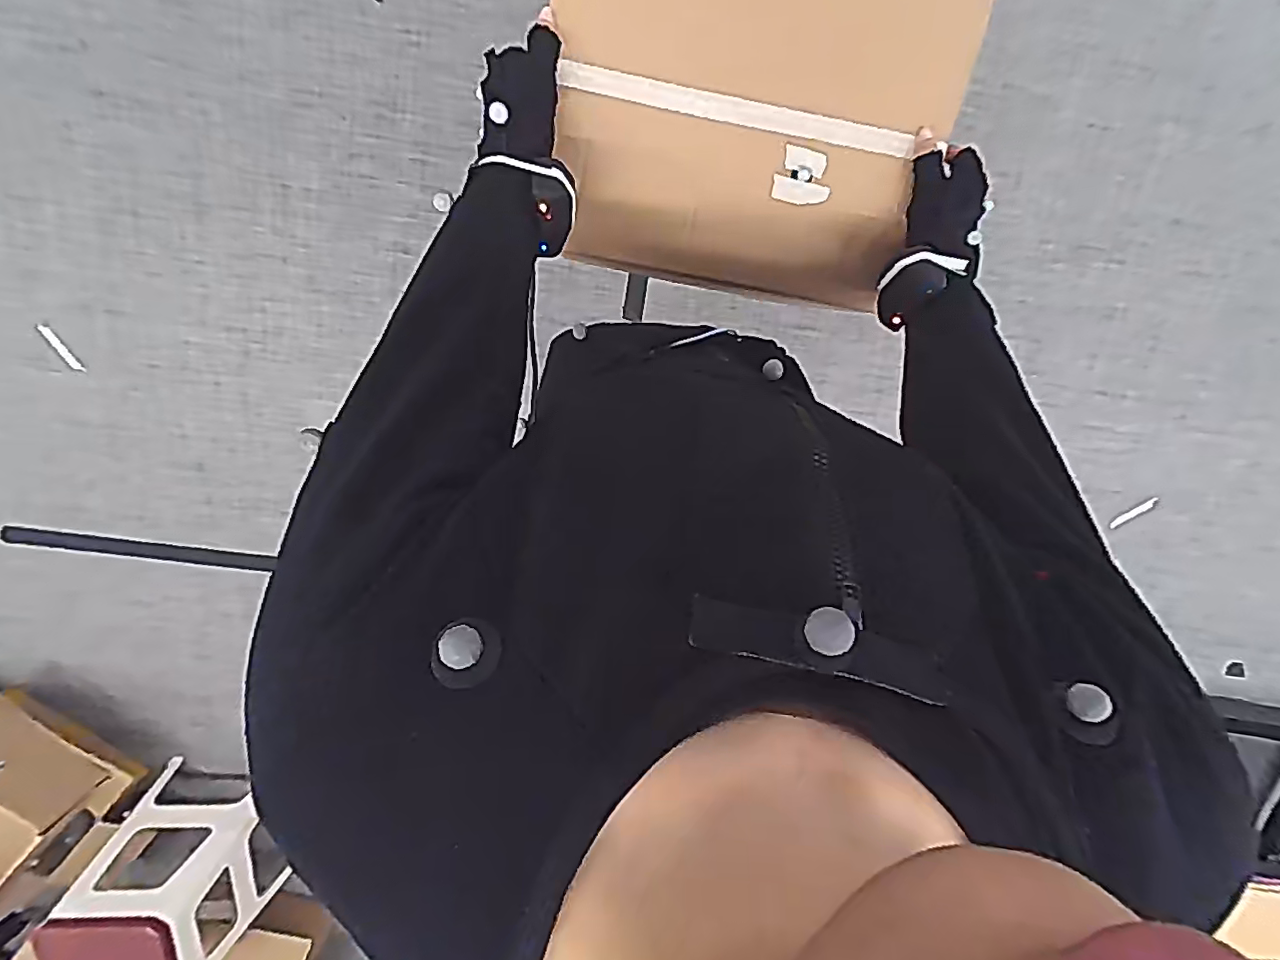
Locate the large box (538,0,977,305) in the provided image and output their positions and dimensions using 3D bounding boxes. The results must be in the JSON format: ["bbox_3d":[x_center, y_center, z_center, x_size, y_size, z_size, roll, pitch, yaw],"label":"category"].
[{"bbox_3d":[0.102,-0.419,0.690,0.408,0.320,0.320,9,110,-5],"label":"large box"}]
